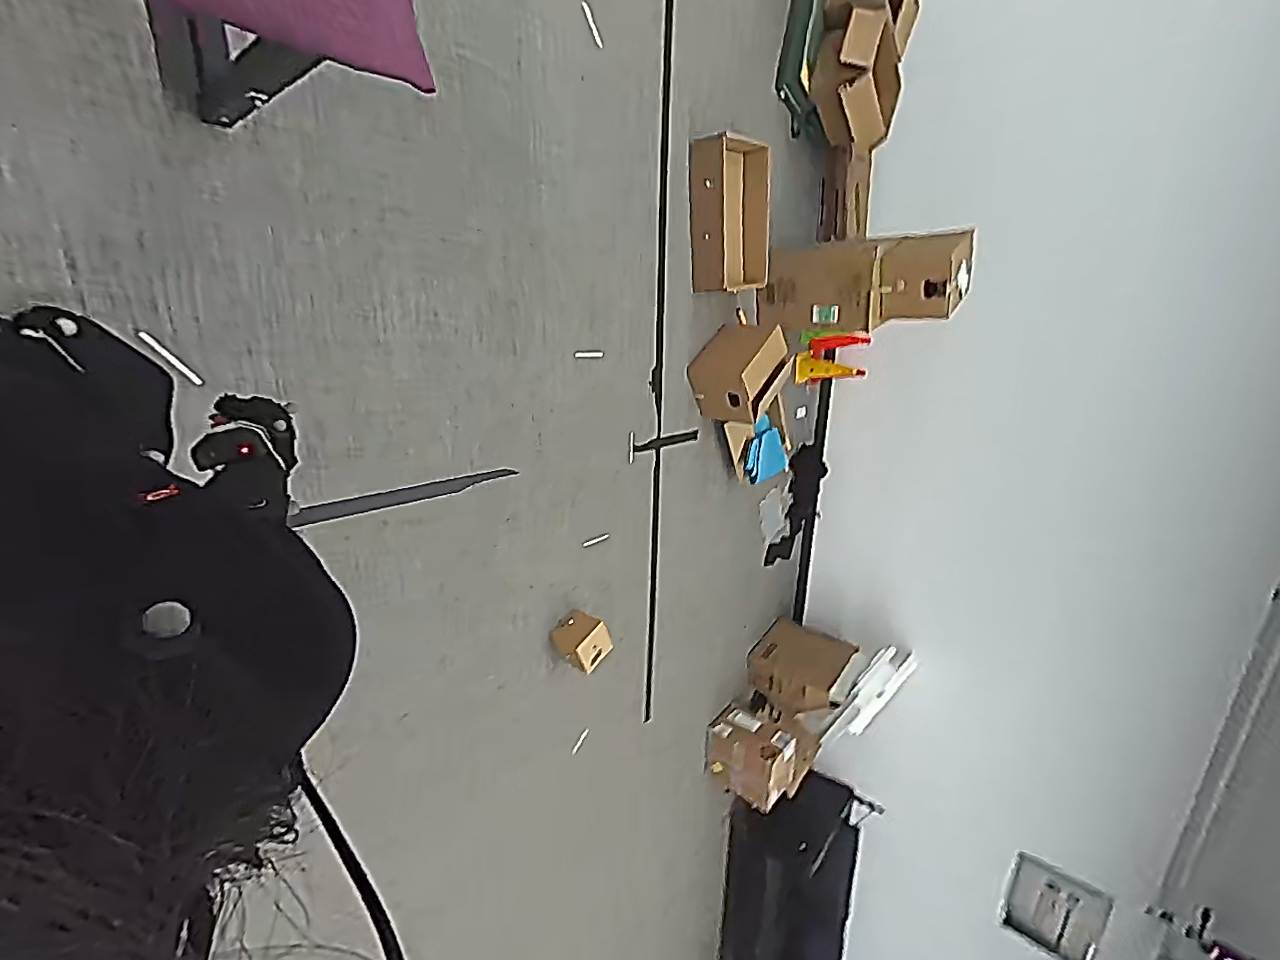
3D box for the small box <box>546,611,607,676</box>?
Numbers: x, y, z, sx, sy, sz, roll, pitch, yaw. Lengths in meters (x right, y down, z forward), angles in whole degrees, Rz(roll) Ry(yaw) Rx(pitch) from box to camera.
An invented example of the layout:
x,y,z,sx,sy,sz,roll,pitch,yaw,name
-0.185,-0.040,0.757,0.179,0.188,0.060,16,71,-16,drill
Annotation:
x,y,z,sx,sy,sz,roll,pitch,yaw,name
-0.270,0.688,2.296,0.168,0.176,0.179,-42,131,-36,small box
